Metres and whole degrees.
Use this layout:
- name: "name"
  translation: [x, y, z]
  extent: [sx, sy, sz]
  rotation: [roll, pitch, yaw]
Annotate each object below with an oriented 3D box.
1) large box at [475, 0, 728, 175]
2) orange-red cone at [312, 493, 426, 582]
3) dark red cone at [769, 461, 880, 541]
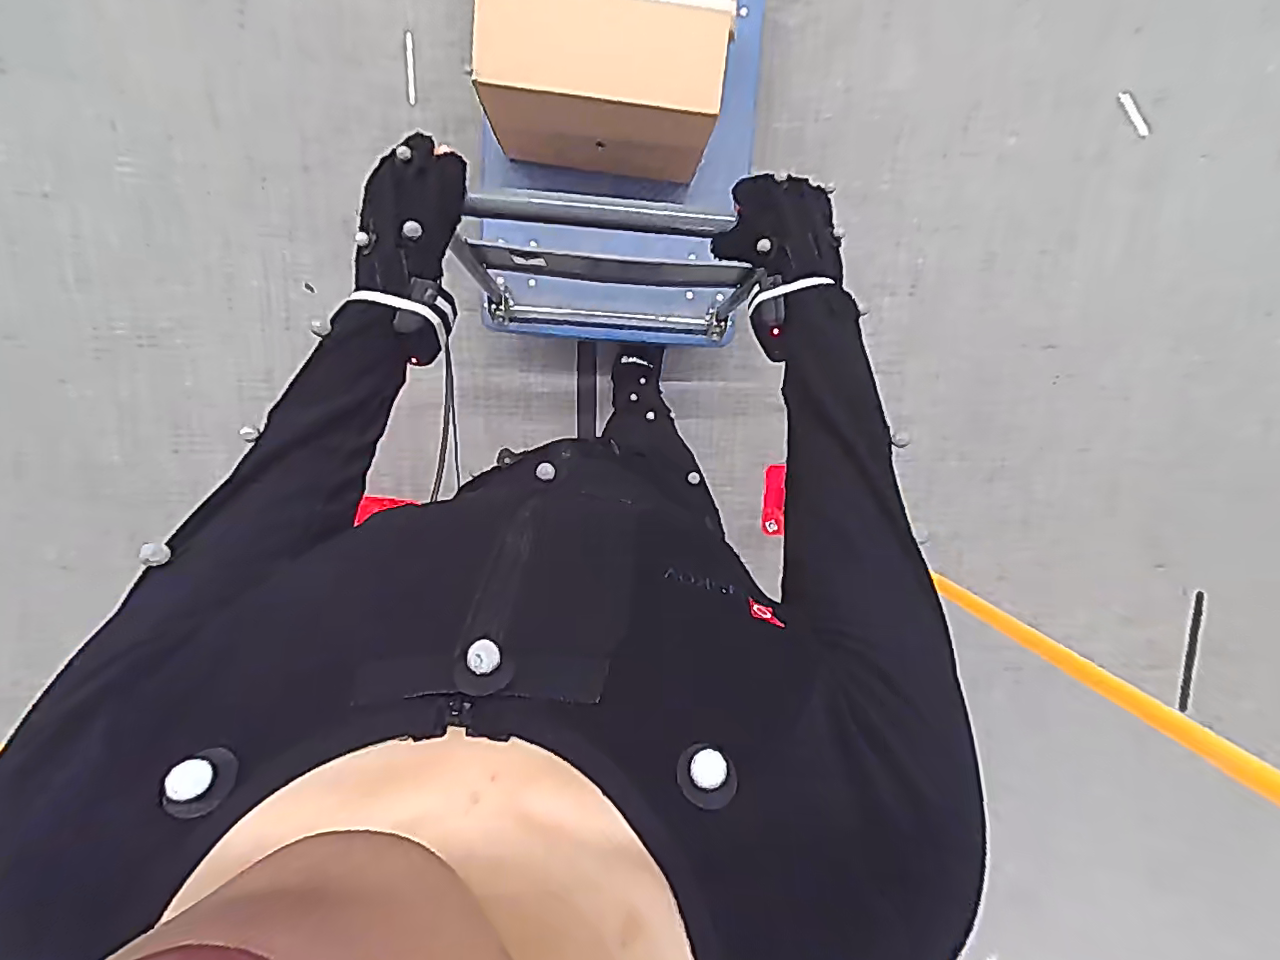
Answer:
- name: "large box"
  translation: [-0.060, -0.798, 1.002]
  extent: [0.408, 0.320, 0.320]
  rotation: [5, 99, -3]
- name: "orange-red cone"
  translation: [-0.670, 0.163, 1.283]
  extent: [0.198, 0.360, 0.199]
  rotation: [7, 98, -5]
- name: "dark red cone"
  translation: [0.461, 0.077, 1.303]
  extent: [0.201, 0.394, 0.202]
  rotation: [0, 100, -5]
